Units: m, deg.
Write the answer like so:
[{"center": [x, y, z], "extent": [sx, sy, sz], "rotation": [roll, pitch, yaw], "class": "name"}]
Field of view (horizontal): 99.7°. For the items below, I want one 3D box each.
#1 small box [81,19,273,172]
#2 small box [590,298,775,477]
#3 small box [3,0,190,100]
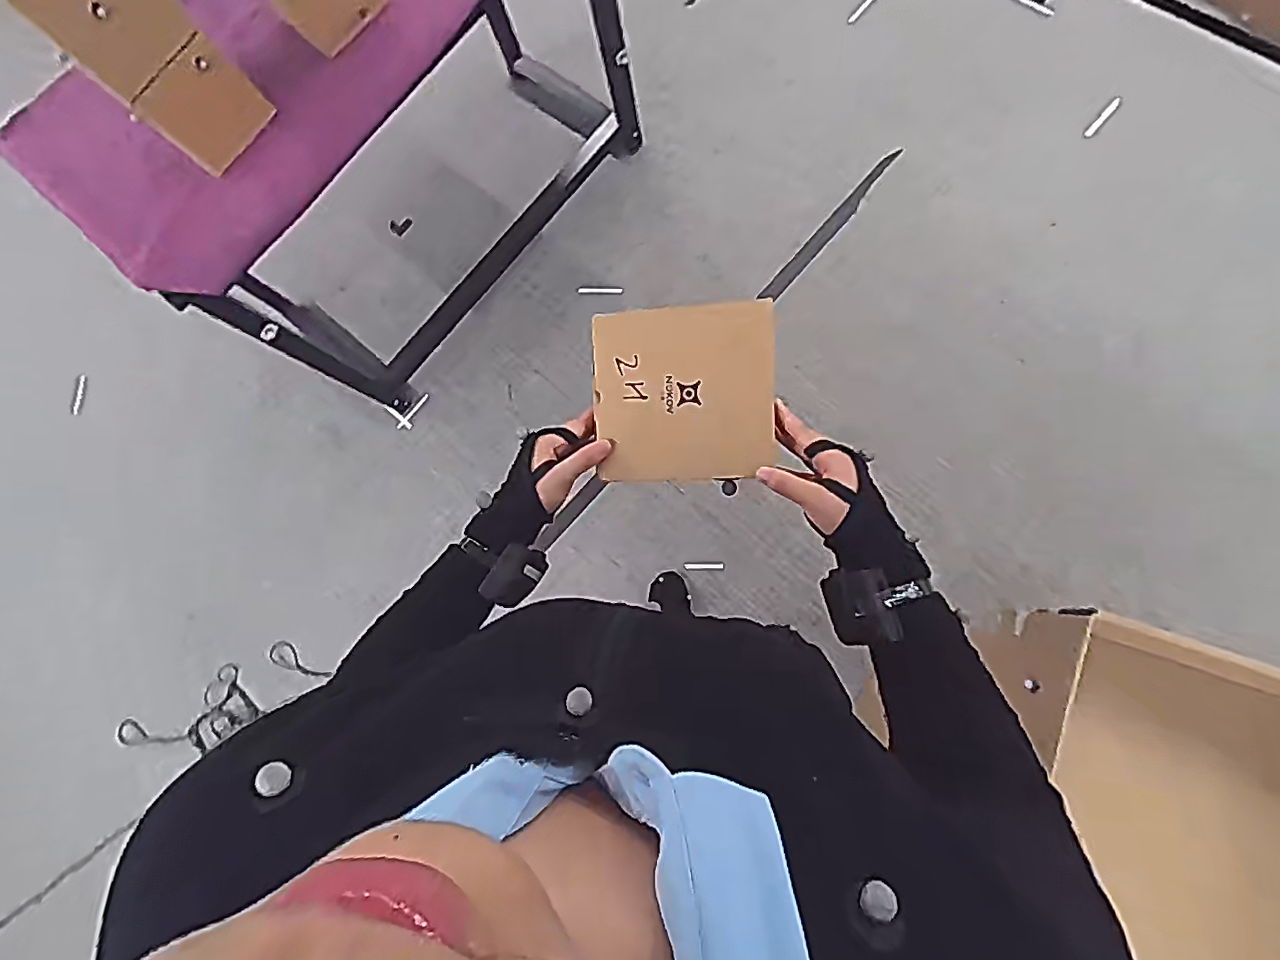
[{"center": [-0.821, -0.706, 0.975], "extent": [0.168, 0.176, 0.179], "rotation": [37, 85, 13], "class": "small box"}, {"center": [0.054, -0.087, 0.592], "extent": [0.179, 0.176, 0.168], "rotation": [-1, 90, 13], "class": "small box"}, {"center": [-0.837, -0.735, 0.814], "extent": [0.168, 0.176, 0.179], "rotation": [37, 86, 13], "class": "small box"}]
